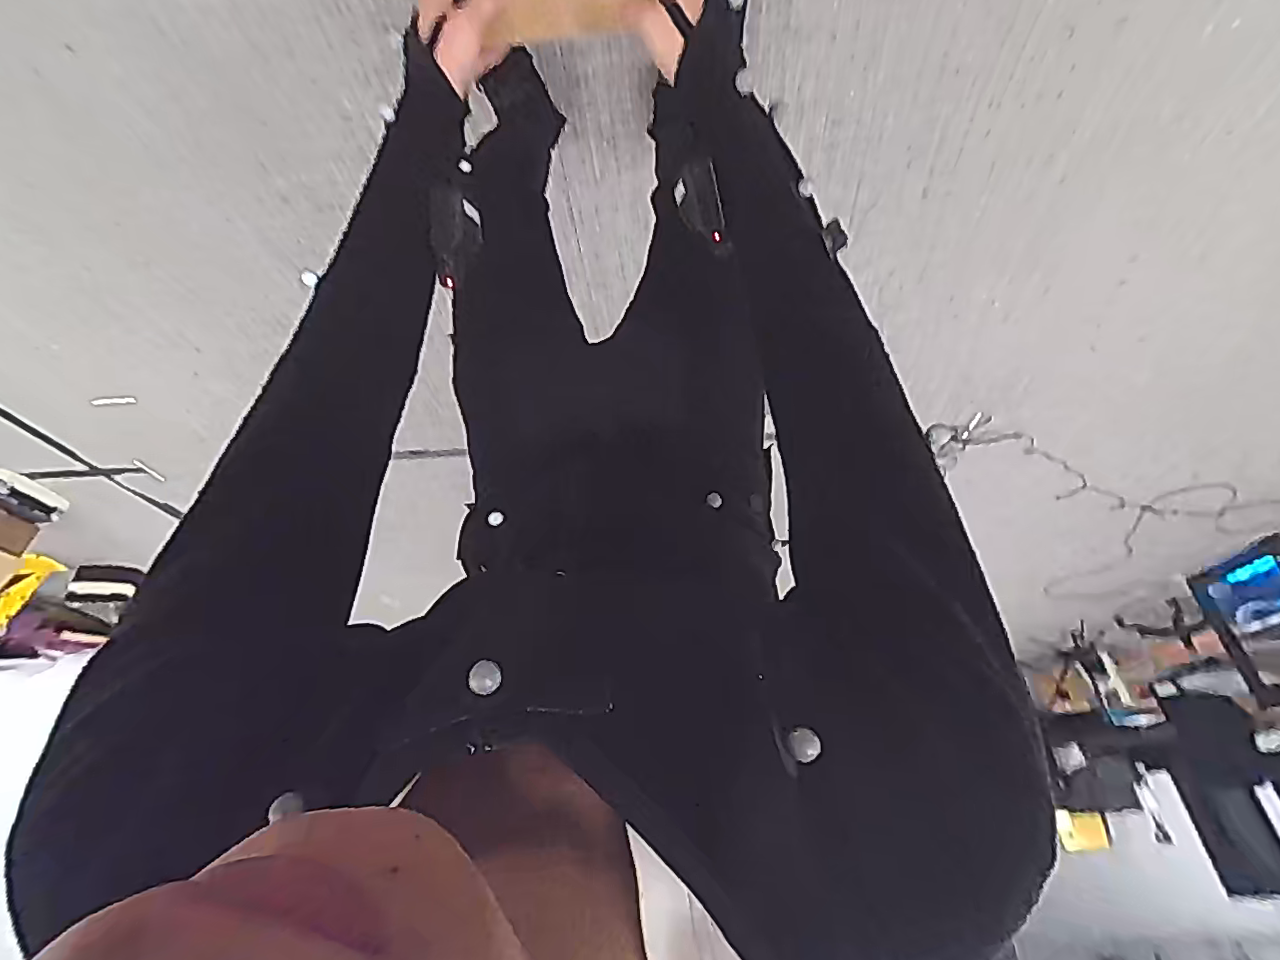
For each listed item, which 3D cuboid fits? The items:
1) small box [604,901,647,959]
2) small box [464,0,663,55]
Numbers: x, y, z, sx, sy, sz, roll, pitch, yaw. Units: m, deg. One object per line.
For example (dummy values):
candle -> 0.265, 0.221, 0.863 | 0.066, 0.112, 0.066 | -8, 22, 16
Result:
small box -> -0.057, 1.883, 2.269 | 0.168, 0.176, 0.179 | -4, 147, 4
small box -> -0.072, -0.493, 0.447 | 0.168, 0.176, 0.179 | -5, 145, 2
